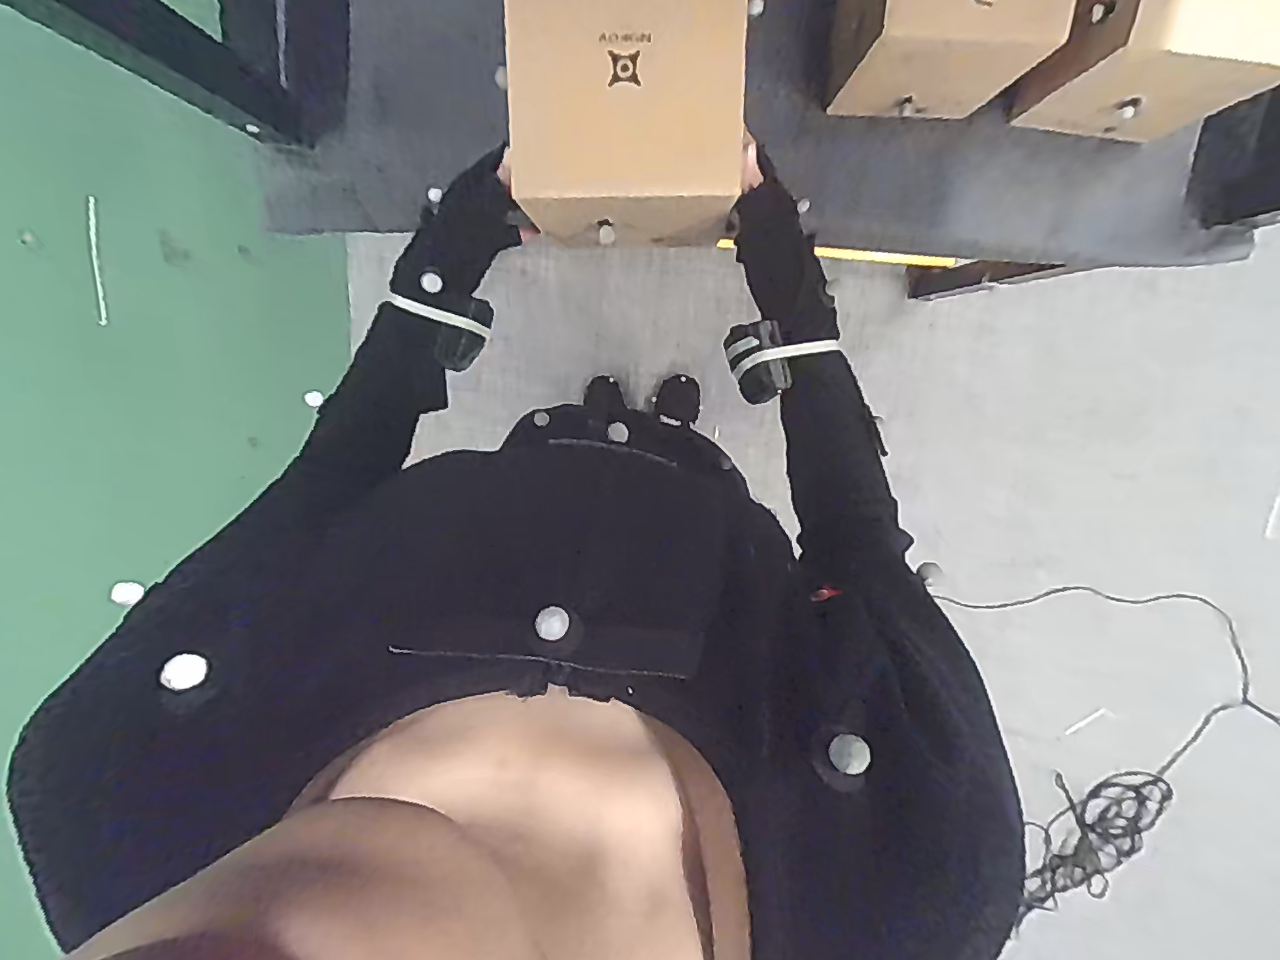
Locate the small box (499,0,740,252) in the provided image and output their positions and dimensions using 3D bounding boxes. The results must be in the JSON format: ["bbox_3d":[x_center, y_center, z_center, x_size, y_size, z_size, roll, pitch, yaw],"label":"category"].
[{"bbox_3d":[-0.011,-0.296,0.449,0.168,0.176,0.179,0,100,2],"label":"small box"}]
